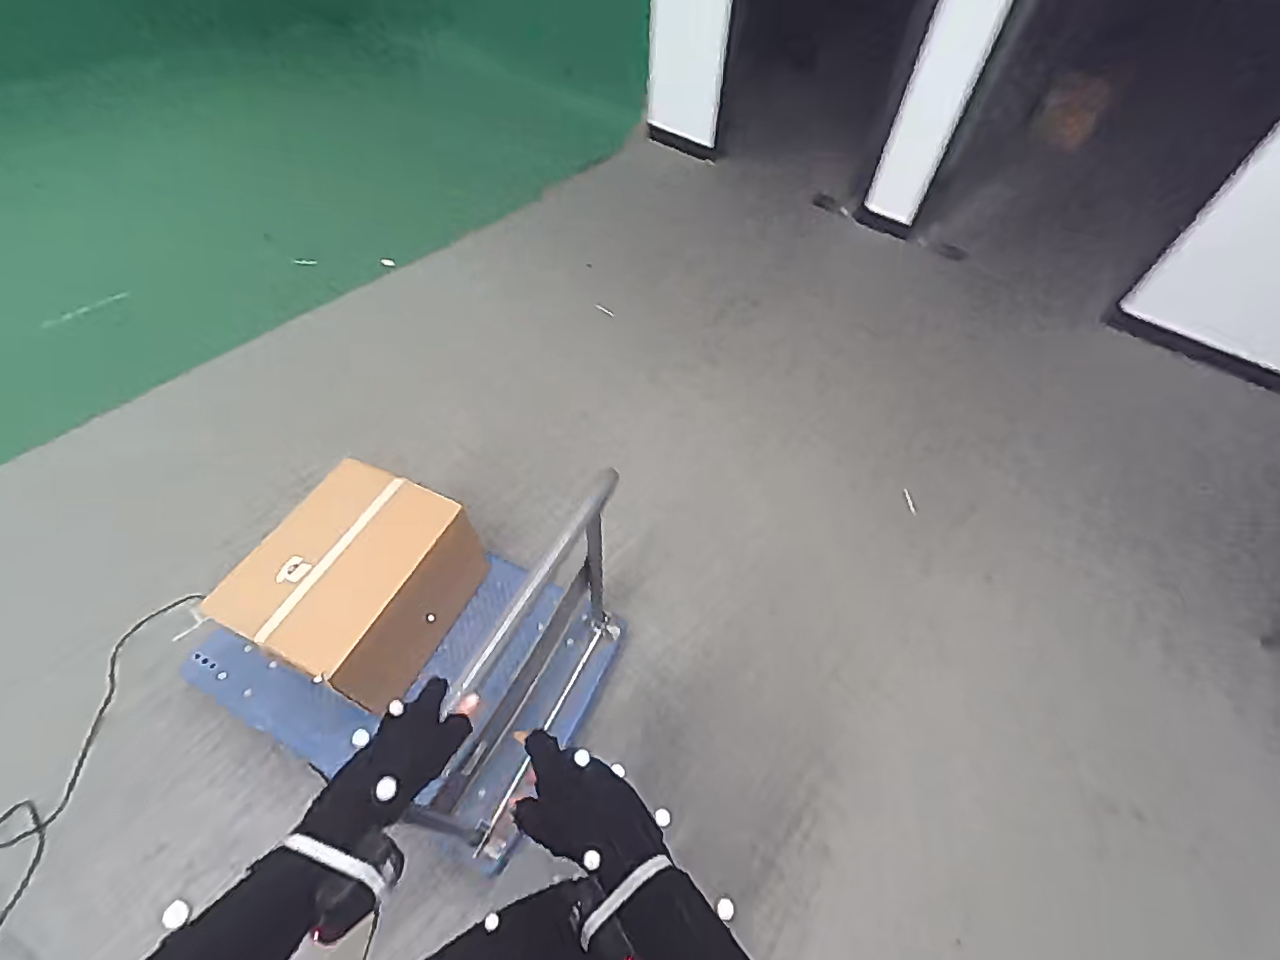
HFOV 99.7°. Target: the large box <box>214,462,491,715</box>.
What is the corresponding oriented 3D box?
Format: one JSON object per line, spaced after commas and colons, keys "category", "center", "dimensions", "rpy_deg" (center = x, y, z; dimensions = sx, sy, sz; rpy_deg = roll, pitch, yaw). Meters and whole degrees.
{"category": "large box", "center": [-0.588, 0.239, 1.205], "dimensions": [0.320, 0.320, 0.408], "rpy_deg": [20, 57, 12]}
